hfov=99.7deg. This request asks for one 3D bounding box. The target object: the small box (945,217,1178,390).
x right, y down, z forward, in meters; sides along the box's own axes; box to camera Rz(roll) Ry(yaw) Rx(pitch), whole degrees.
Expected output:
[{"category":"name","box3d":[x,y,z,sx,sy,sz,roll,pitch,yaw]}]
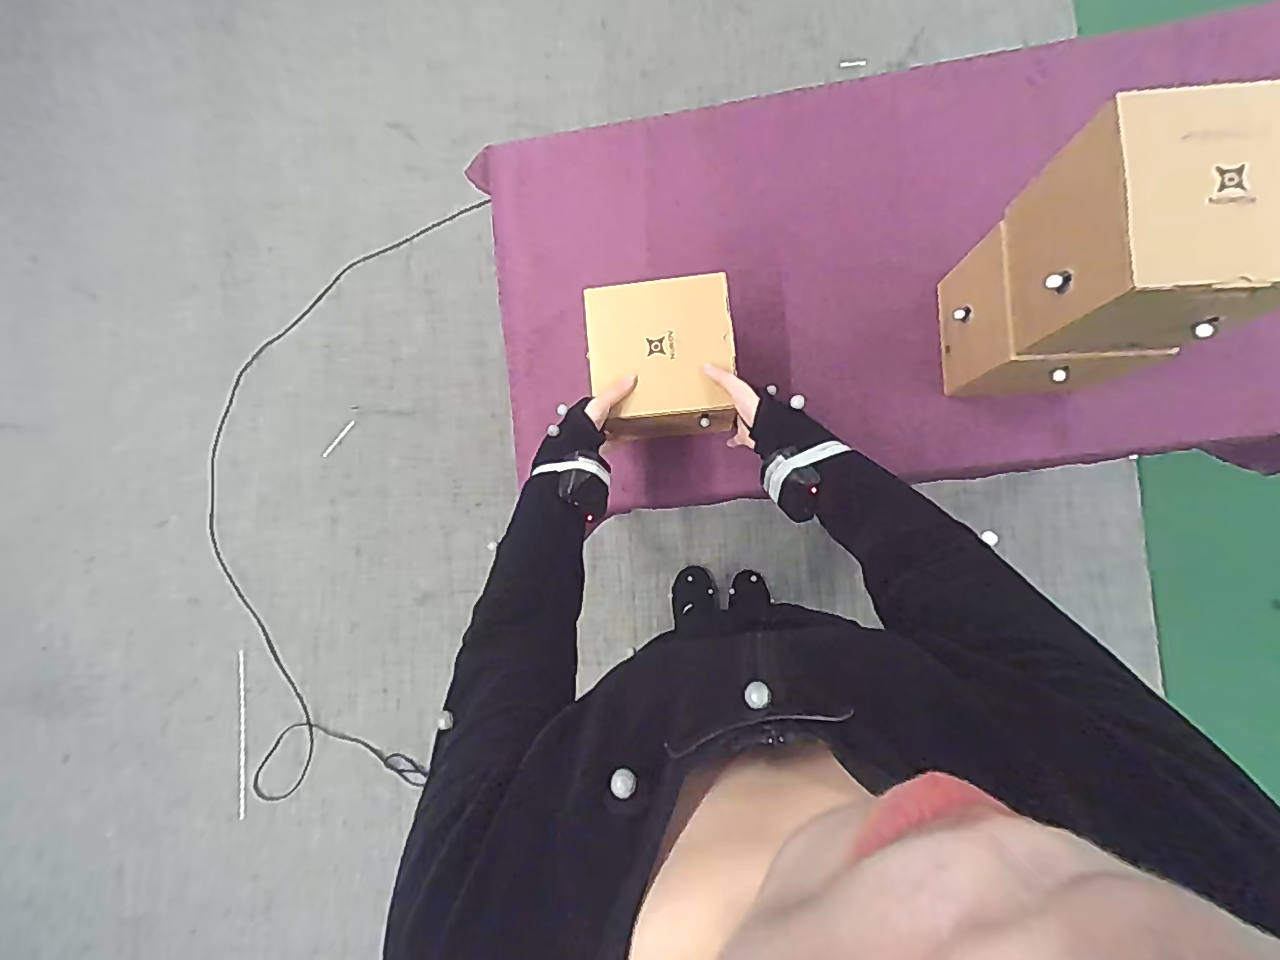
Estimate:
[{"category":"small box","box3d":[0.502,-0.212,0.676,0.179,0.176,0.168,-1,86,7]}]

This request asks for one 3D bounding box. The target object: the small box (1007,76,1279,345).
[{"category":"small box","box3d":[0.483,-0.235,0.516,0.168,0.176,0.179,0,85,6]}]

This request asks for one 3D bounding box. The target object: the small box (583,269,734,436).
[{"category":"small box","box3d":[0.030,-0.158,0.728,0.179,0.176,0.168,-5,85,6]}]
